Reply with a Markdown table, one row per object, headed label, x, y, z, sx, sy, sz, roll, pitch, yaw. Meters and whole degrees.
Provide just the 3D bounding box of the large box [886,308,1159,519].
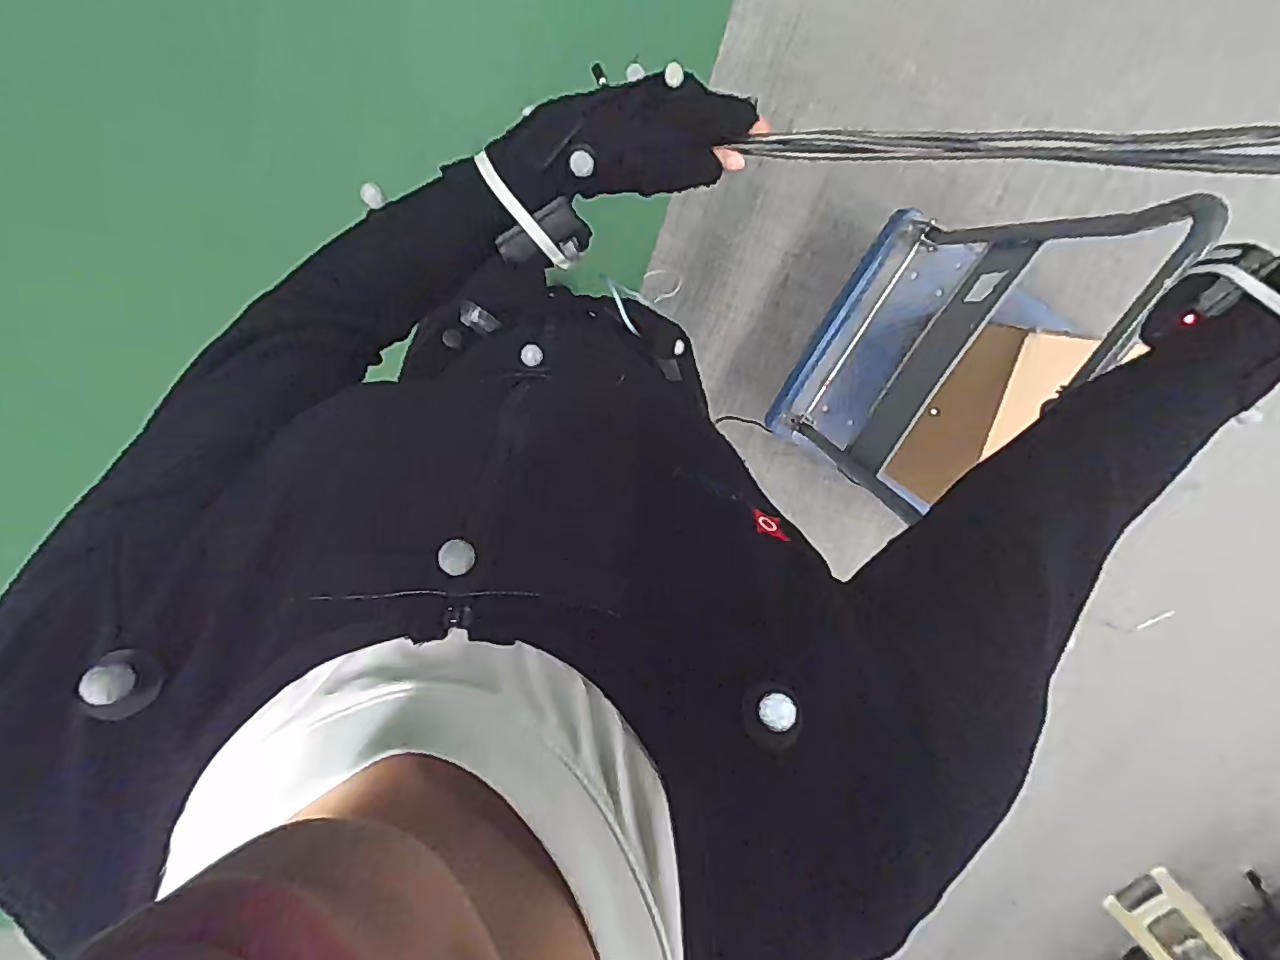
| label | x | y | z | sx | sy | sz | roll | pitch | yaw |
| --- | --- | --- | --- | --- | --- | --- | --- | --- | --- |
| large box | 0.828 | -0.160 | 1.242 | 0.320 | 0.320 | 0.408 | 4 | 112 | -9 |
